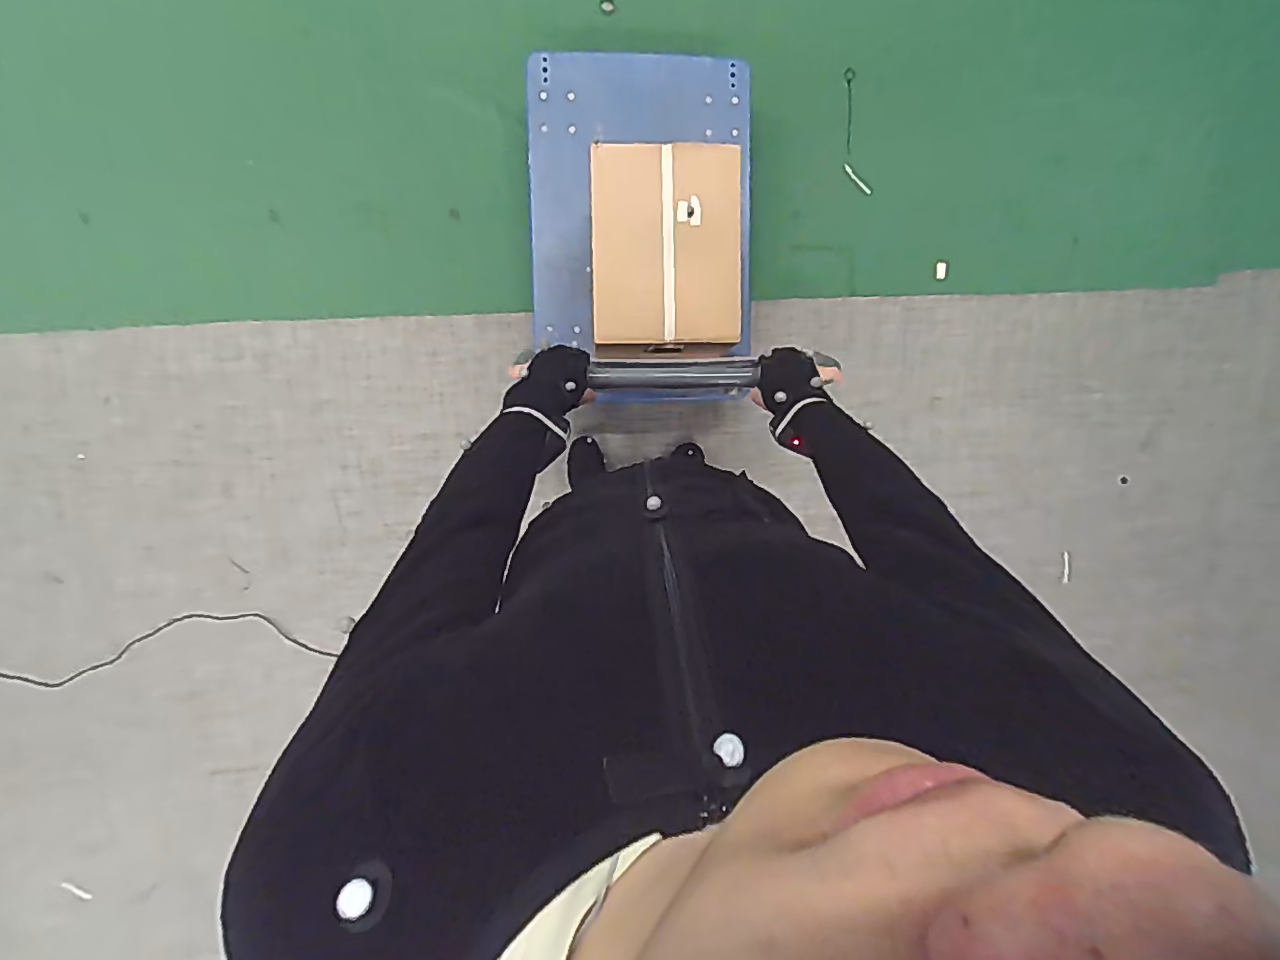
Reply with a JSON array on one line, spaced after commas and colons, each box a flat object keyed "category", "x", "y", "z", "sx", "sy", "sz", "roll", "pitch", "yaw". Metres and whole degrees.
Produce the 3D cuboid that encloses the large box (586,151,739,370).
[{"category": "large box", "x": 0.042, "y": -0.488, "z": 1.277, "sx": 0.320, "sy": 0.320, "sz": 0.408, "roll": -2, "pitch": 93, "yaw": -4}]
